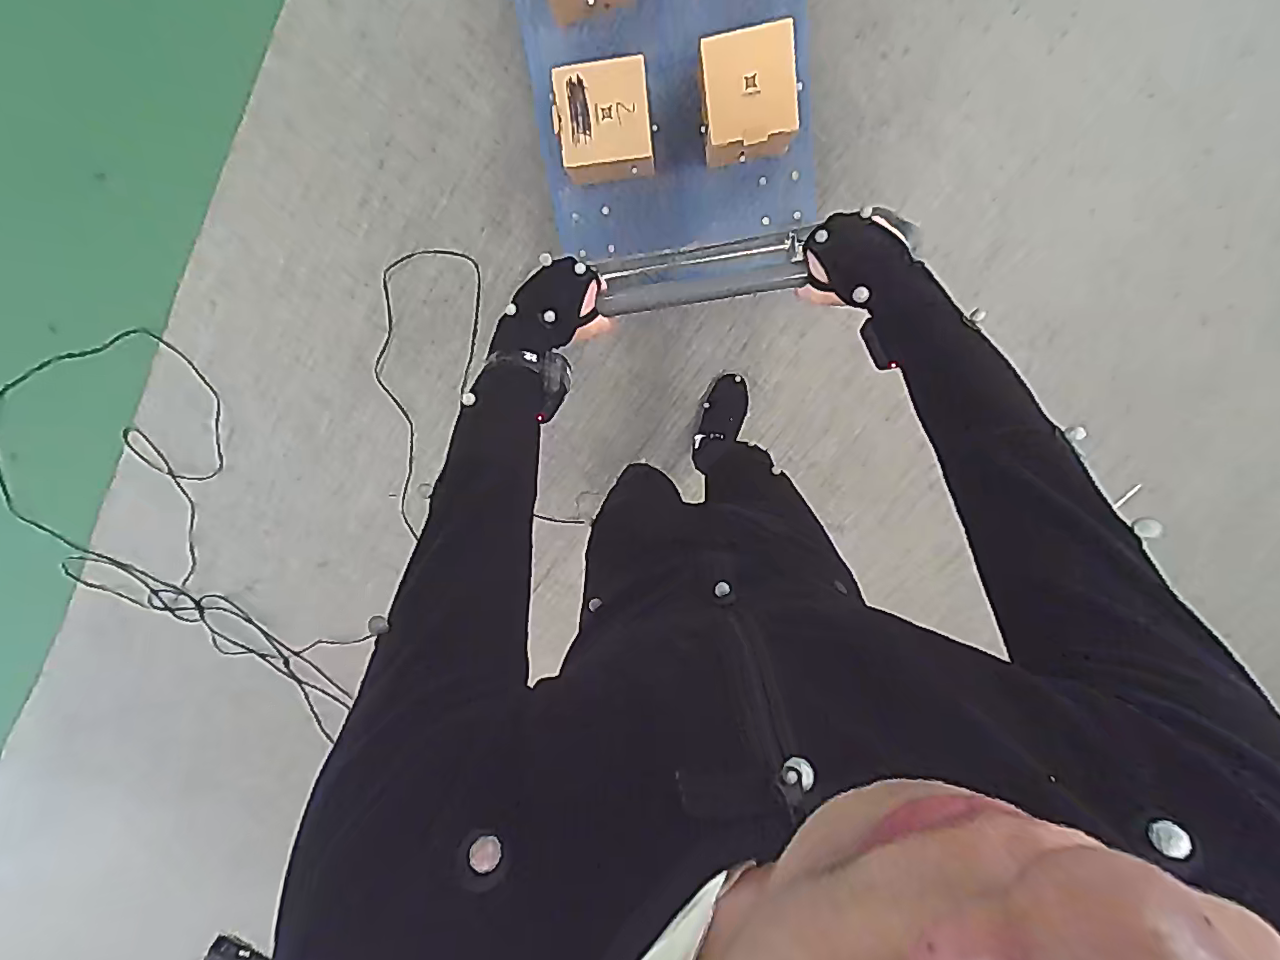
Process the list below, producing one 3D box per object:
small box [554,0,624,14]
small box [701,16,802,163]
[{"bbox_3d":[-0.105,-1.001,0.988,0.168,0.176,0.179,-11,108,7],"label":"small box"},{"bbox_3d":[0.212,-0.748,1.055,0.168,0.176,0.179,-8,109,7],"label":"small box"}]
